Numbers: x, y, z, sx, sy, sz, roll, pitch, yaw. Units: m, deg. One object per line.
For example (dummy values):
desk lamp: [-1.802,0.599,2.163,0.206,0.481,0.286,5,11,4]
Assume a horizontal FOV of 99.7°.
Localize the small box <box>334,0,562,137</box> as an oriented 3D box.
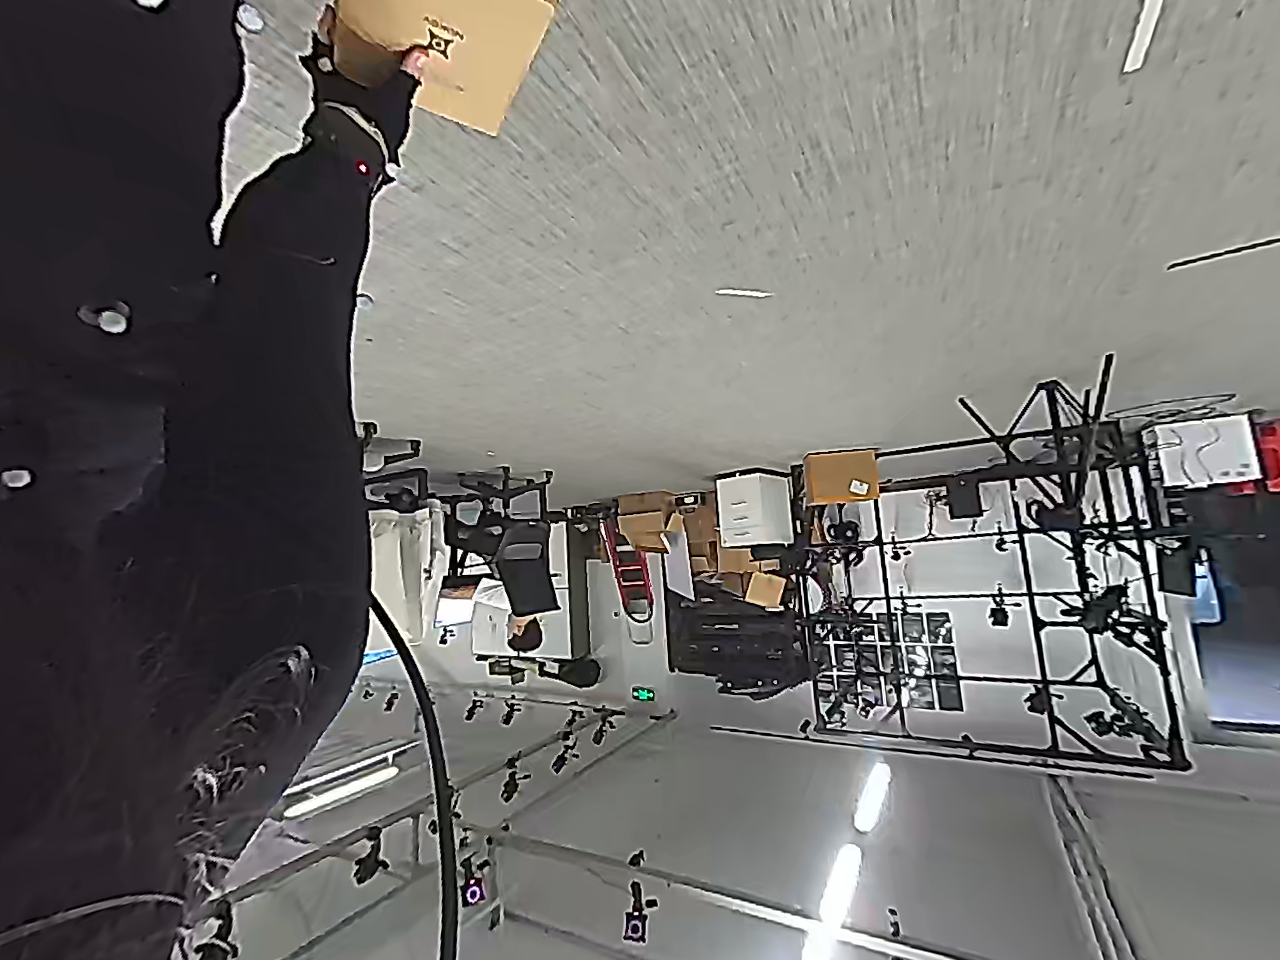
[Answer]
small box: [-0.186,-0.484,0.510,0.168,0.176,0.179,4,170,-33]
